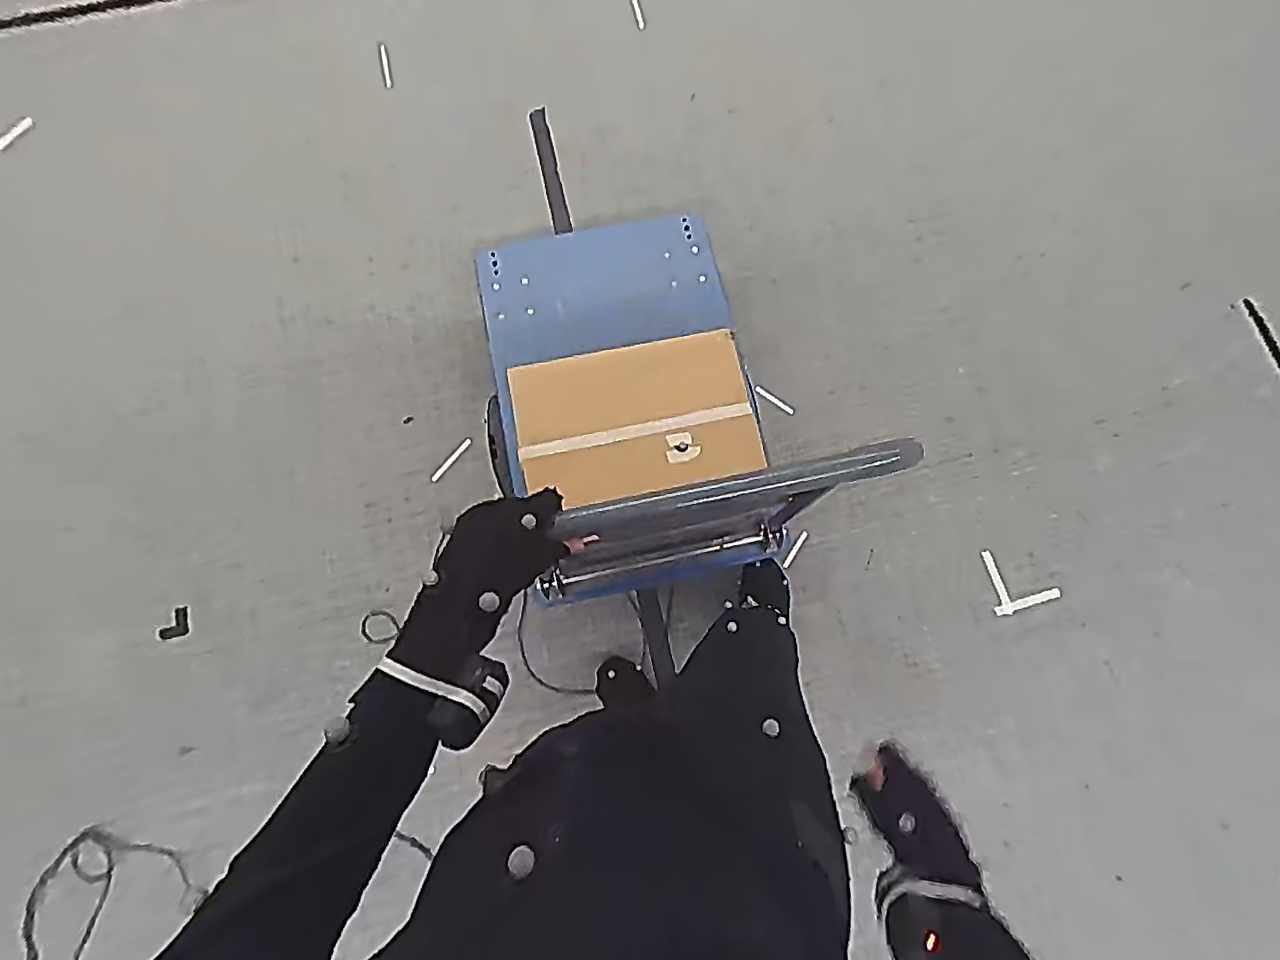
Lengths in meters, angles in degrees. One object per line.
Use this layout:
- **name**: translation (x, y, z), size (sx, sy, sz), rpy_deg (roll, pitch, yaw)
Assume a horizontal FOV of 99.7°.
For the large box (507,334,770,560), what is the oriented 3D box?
- **large box**: translation (-0.012, -0.044, 1.062), size (0.408, 0.320, 0.320), rpy_deg (-11, 79, -4)
